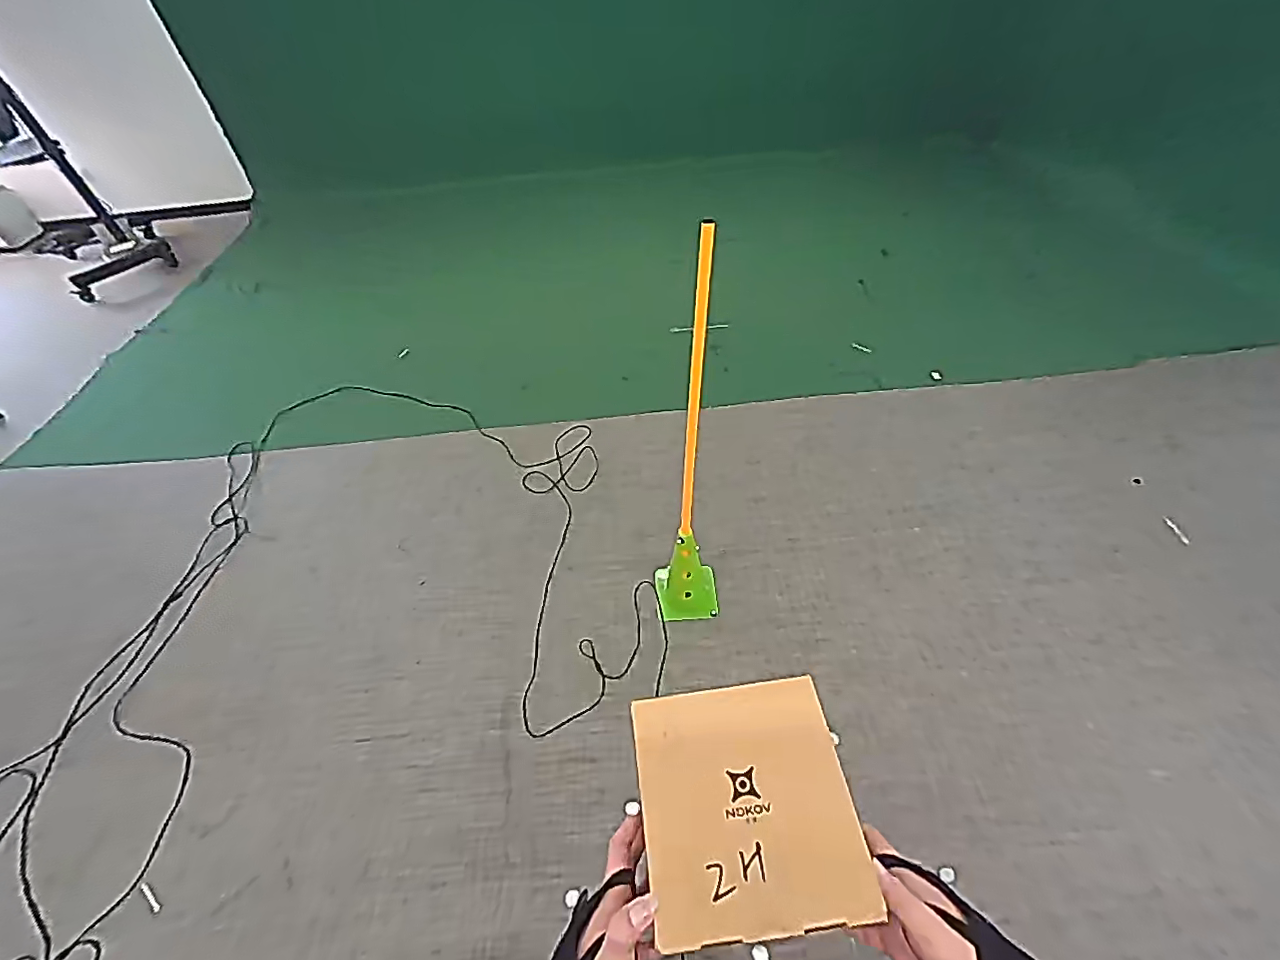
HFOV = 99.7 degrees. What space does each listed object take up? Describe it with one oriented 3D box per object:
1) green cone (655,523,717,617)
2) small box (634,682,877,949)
[{"bbox_3d":[0.140,0.255,1.709,0.202,0.368,0.200,-5,47,2],"label":"green cone"},{"bbox_3d":[0.086,0.310,0.499,0.168,0.176,0.179,-7,50,-1],"label":"small box"}]
